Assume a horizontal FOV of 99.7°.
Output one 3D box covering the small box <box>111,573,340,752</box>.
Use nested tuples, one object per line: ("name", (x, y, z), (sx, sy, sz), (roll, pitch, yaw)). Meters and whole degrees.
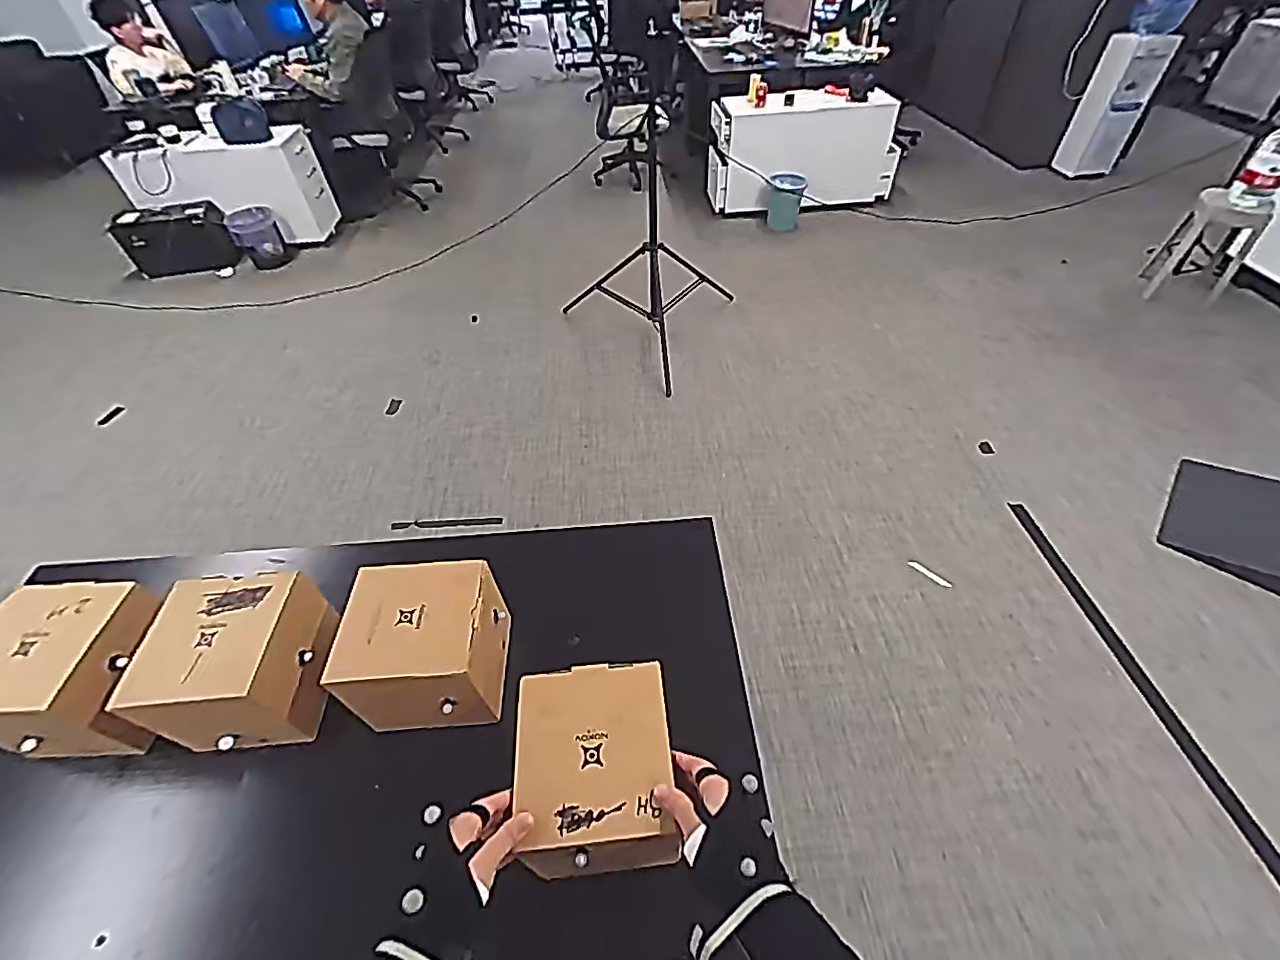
("small box", (-0.538, 0.251, 0.743), (0.168, 0.176, 0.179), (-5, 49, -2))

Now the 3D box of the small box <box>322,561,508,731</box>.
("small box", (-0.291, 0.232, 0.750), (0.179, 0.176, 0.168), (-5, 46, 0))

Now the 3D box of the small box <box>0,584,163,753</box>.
("small box", (-0.762, 0.264, 0.744), (0.168, 0.176, 0.179), (-2, 47, 0))

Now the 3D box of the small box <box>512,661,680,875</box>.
("small box", (-0.046, 0.338, 0.635), (0.168, 0.176, 0.179), (-6, 47, -1))
